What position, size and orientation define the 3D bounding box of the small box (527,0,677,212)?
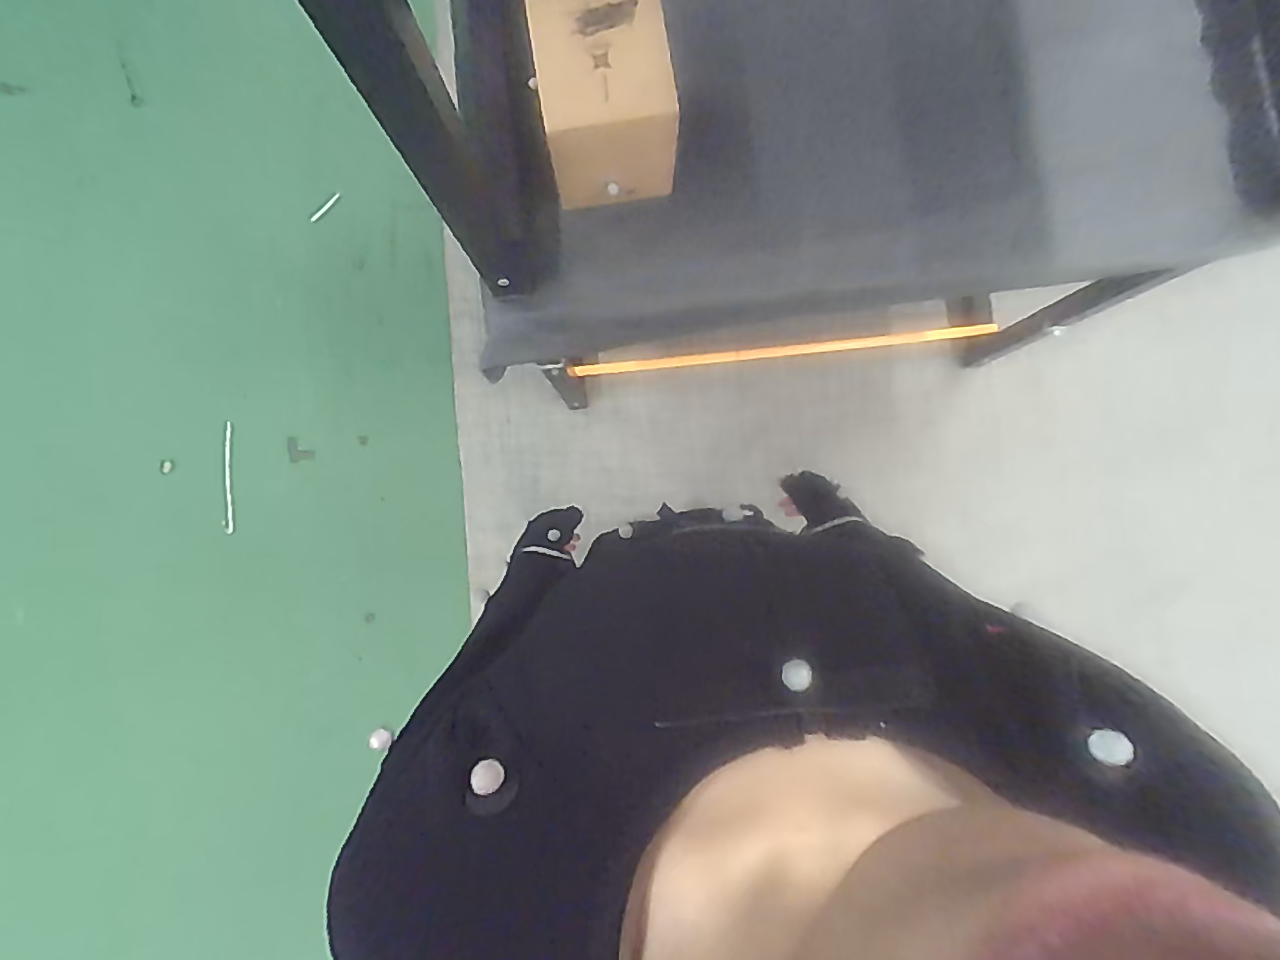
[{"bbox_3d":[-0.048,-0.501,0.732,0.168,0.176,0.179,-9,86,0],"label":"small box"}]
